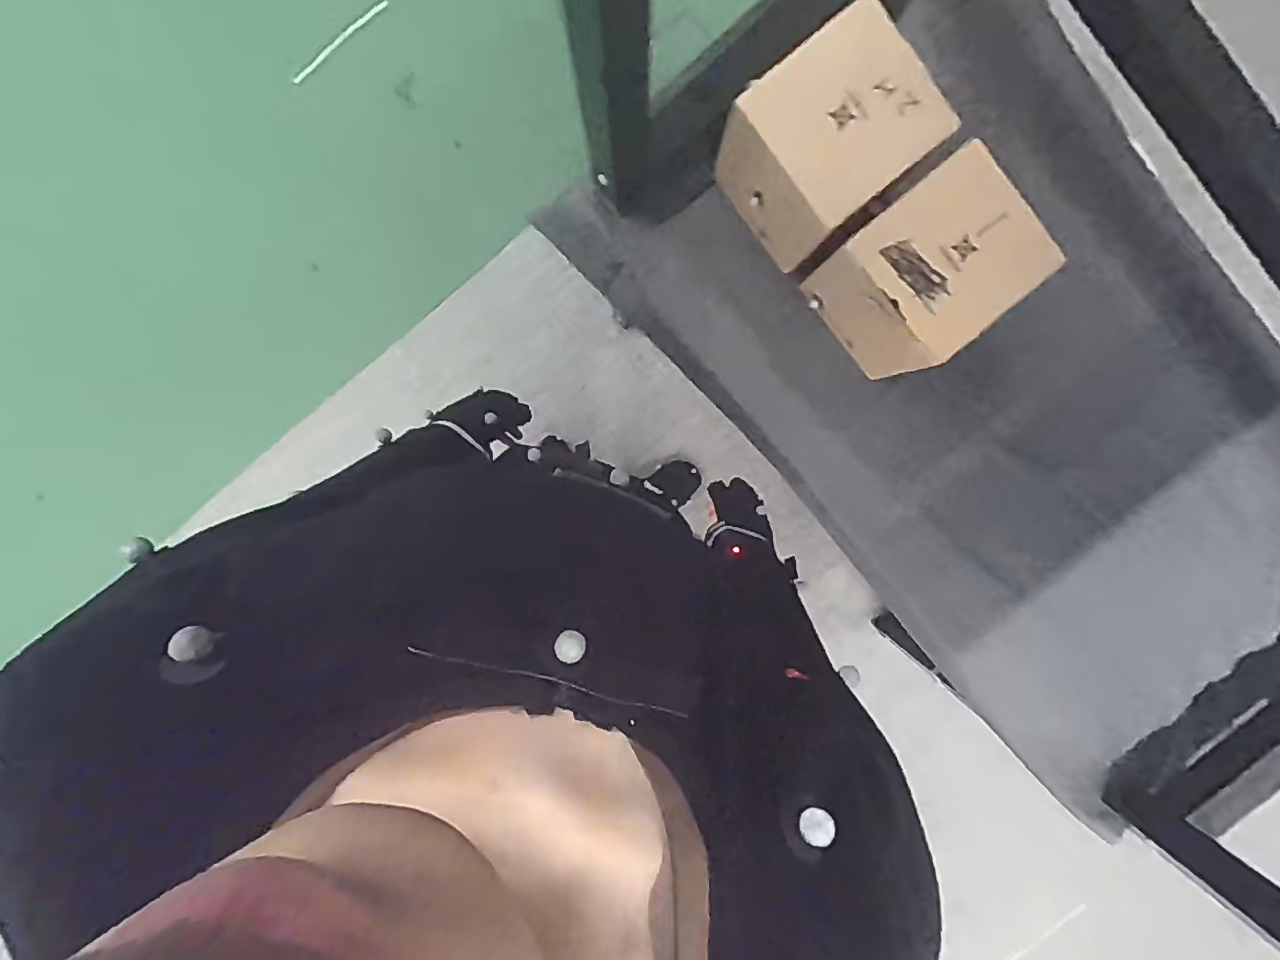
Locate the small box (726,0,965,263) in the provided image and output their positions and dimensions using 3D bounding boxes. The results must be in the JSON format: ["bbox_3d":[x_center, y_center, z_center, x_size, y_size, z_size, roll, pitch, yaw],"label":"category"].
[{"bbox_3d":[0.216,-0.385,0.626,0.179,0.176,0.168,-38,96,3],"label":"small box"}]
